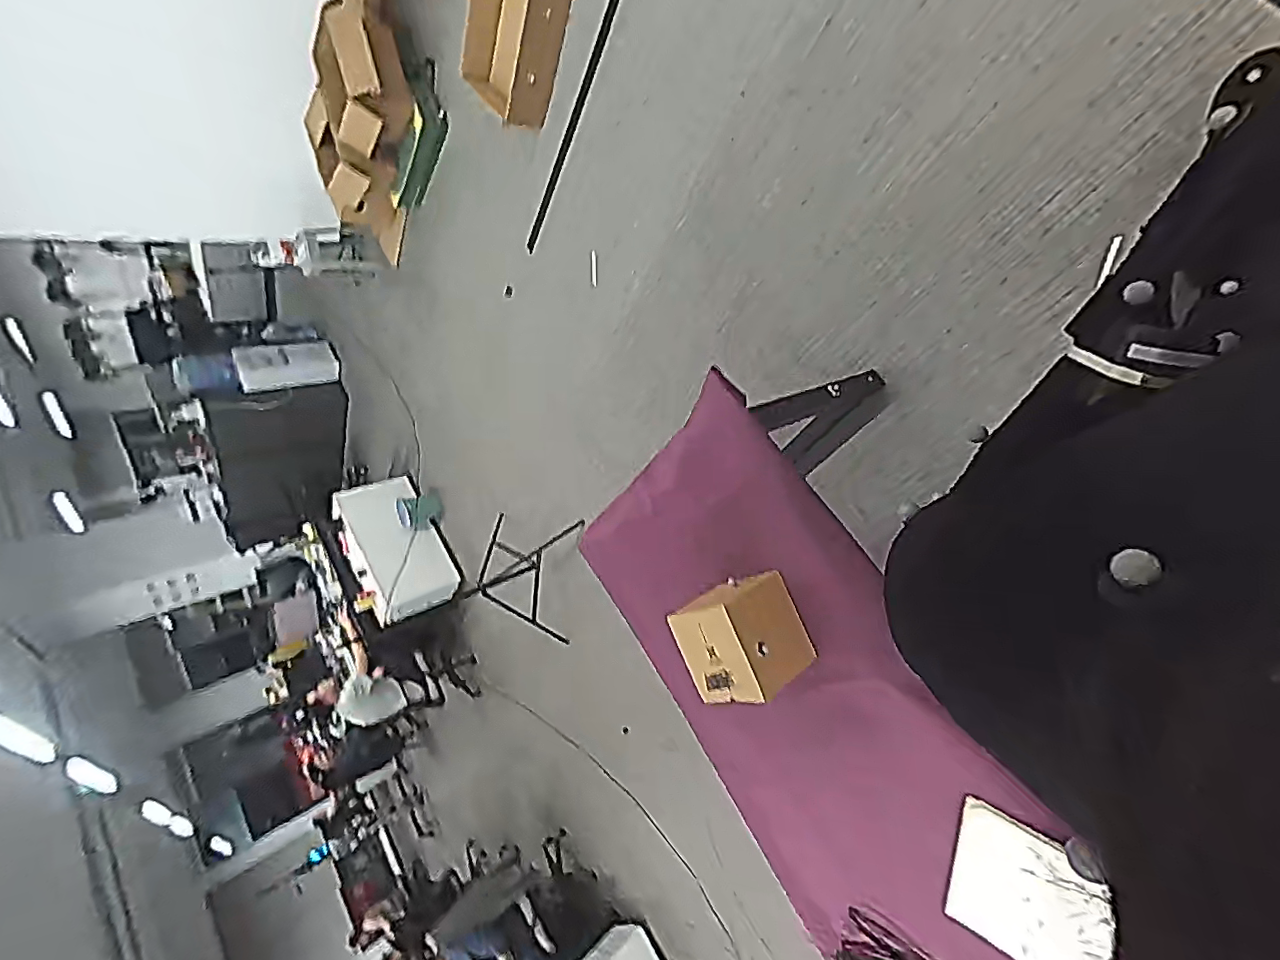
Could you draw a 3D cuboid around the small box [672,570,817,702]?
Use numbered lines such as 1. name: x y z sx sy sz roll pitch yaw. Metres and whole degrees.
1. small box: 0.197 0.290 1.009 0.168 0.176 0.179 -31 81 51
